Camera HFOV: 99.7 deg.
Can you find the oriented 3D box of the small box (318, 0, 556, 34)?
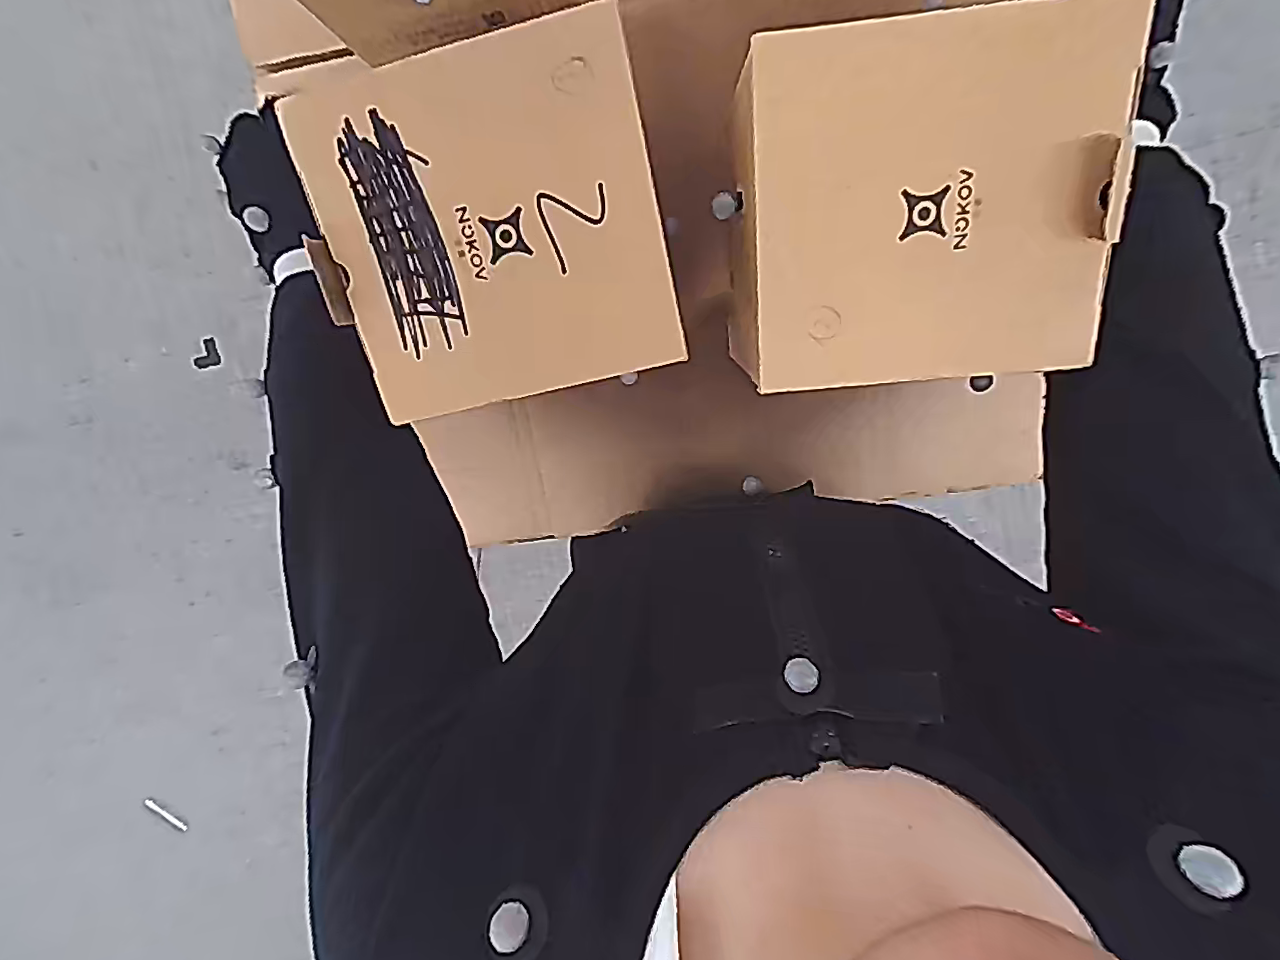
[{"bbox_3d":[-0.143,-0.384,0.291,0.168,0.176,0.179,-8,105,6],"label":"small box"}]
